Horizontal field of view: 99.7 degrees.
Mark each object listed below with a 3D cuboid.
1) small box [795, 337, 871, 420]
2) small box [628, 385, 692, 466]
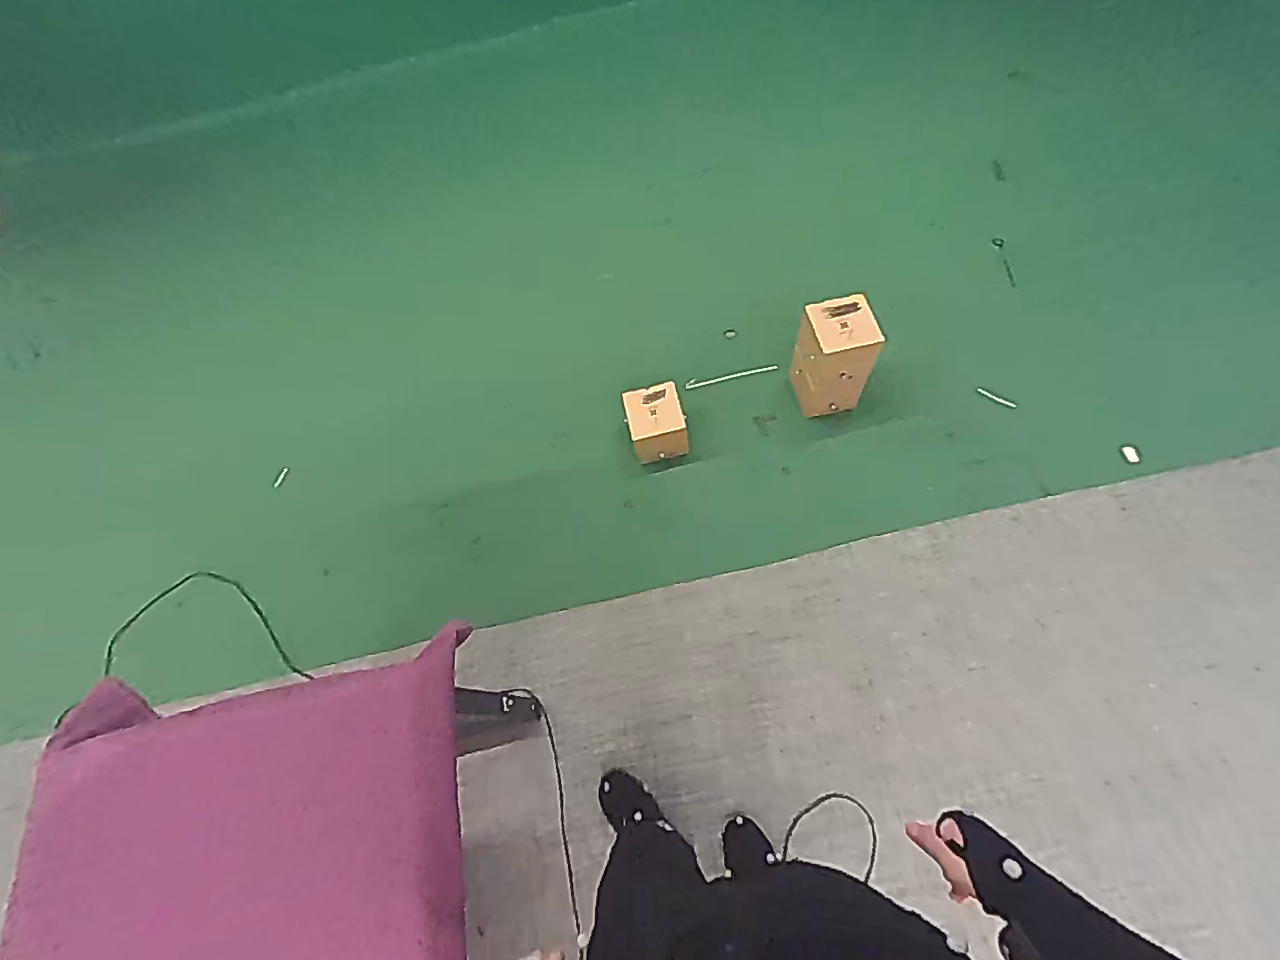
[{"bbox_3d":[0.594,-0.316,1.694,0.168,0.176,0.179,-12,64,3],"label":"small box"},{"bbox_3d":[0.066,-0.168,1.705,0.168,0.176,0.179,-14,64,3],"label":"small box"}]
